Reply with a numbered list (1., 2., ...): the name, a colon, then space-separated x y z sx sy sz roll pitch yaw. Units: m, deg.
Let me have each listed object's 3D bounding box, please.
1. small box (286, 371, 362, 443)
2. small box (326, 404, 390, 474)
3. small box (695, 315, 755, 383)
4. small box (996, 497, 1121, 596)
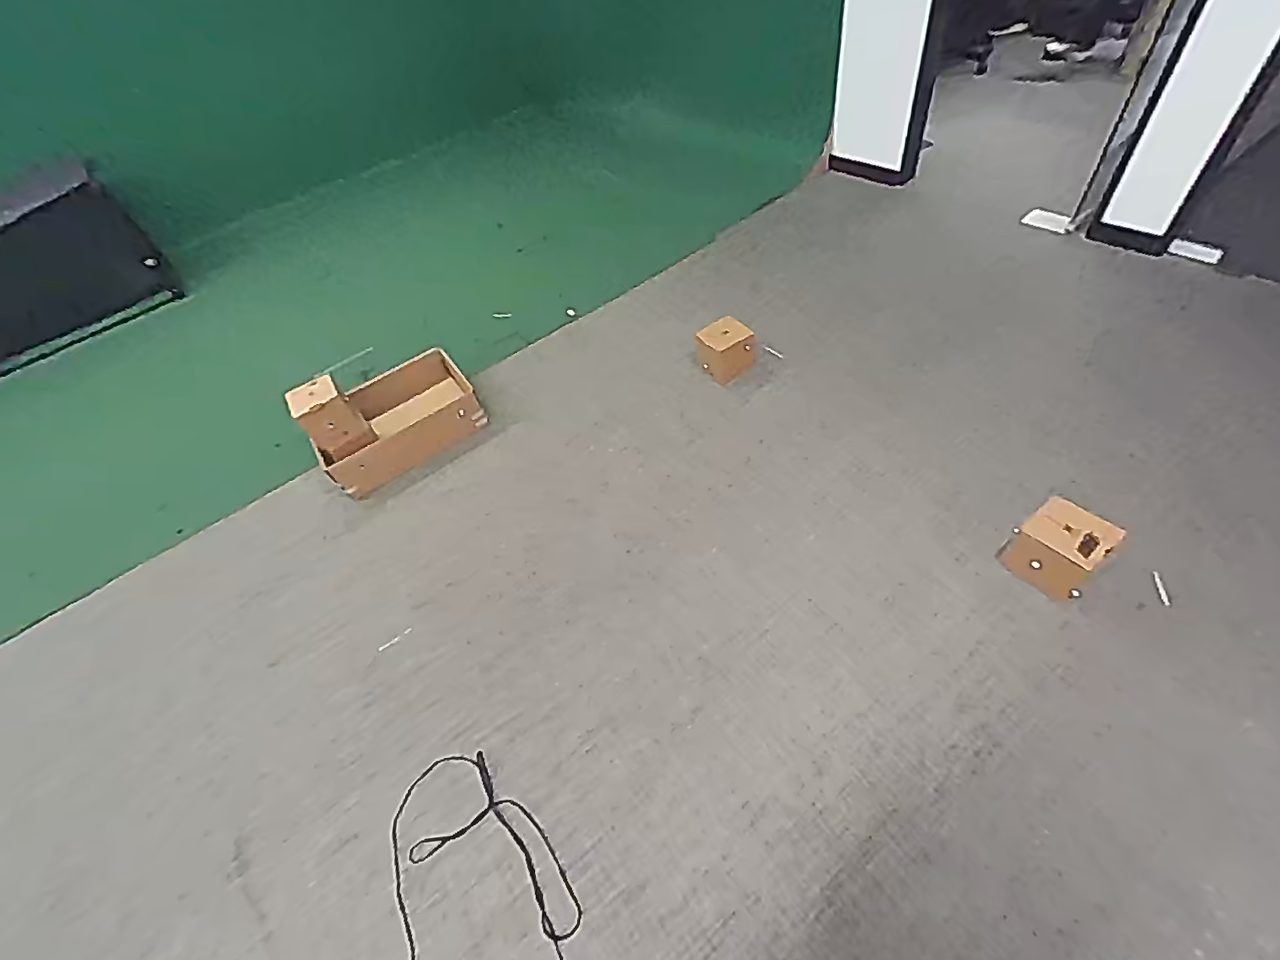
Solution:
1. small box: -1.155 -0.260 1.983 0.168 0.176 0.179 -32 54 -14
2. small box: -1.114 -0.157 2.105 0.168 0.176 0.179 -36 55 -17
3. small box: 0.340 -0.523 2.169 0.179 0.176 0.168 -30 51 -13
4. small box: 1.106 0.186 1.444 0.168 0.176 0.179 -34 52 -16
